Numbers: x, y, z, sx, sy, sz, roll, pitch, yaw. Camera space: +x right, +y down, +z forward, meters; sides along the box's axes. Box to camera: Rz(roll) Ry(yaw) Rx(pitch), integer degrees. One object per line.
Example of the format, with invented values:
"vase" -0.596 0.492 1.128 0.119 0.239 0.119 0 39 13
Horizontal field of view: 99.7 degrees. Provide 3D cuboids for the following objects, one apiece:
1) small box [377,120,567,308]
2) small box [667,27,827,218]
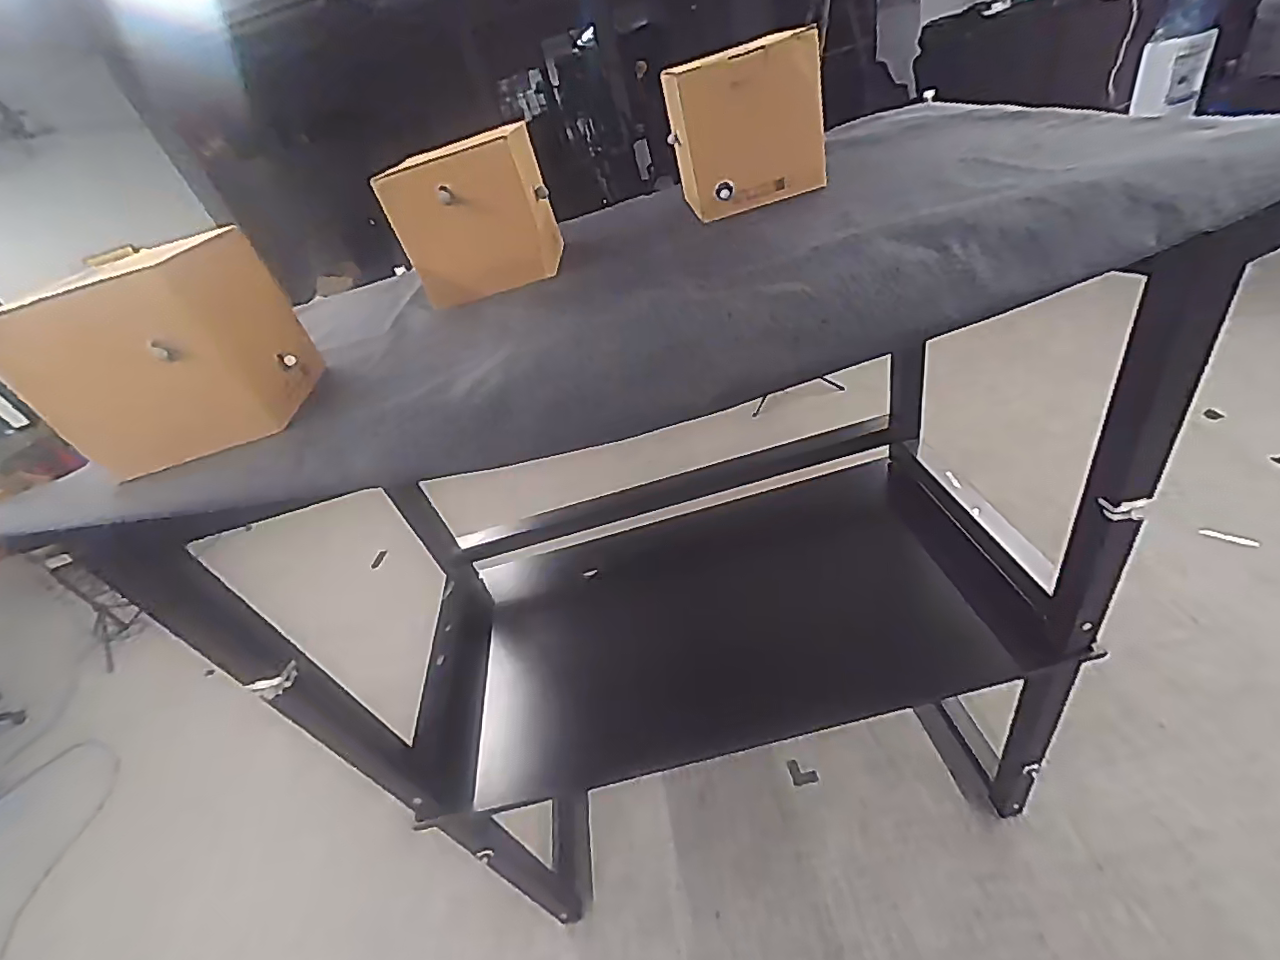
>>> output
"small box" -0.208 -0.359 0.733 0.179 0.176 0.168 -13 38 8
"small box" 0.141 -0.470 0.724 0.168 0.176 0.179 -14 37 6
